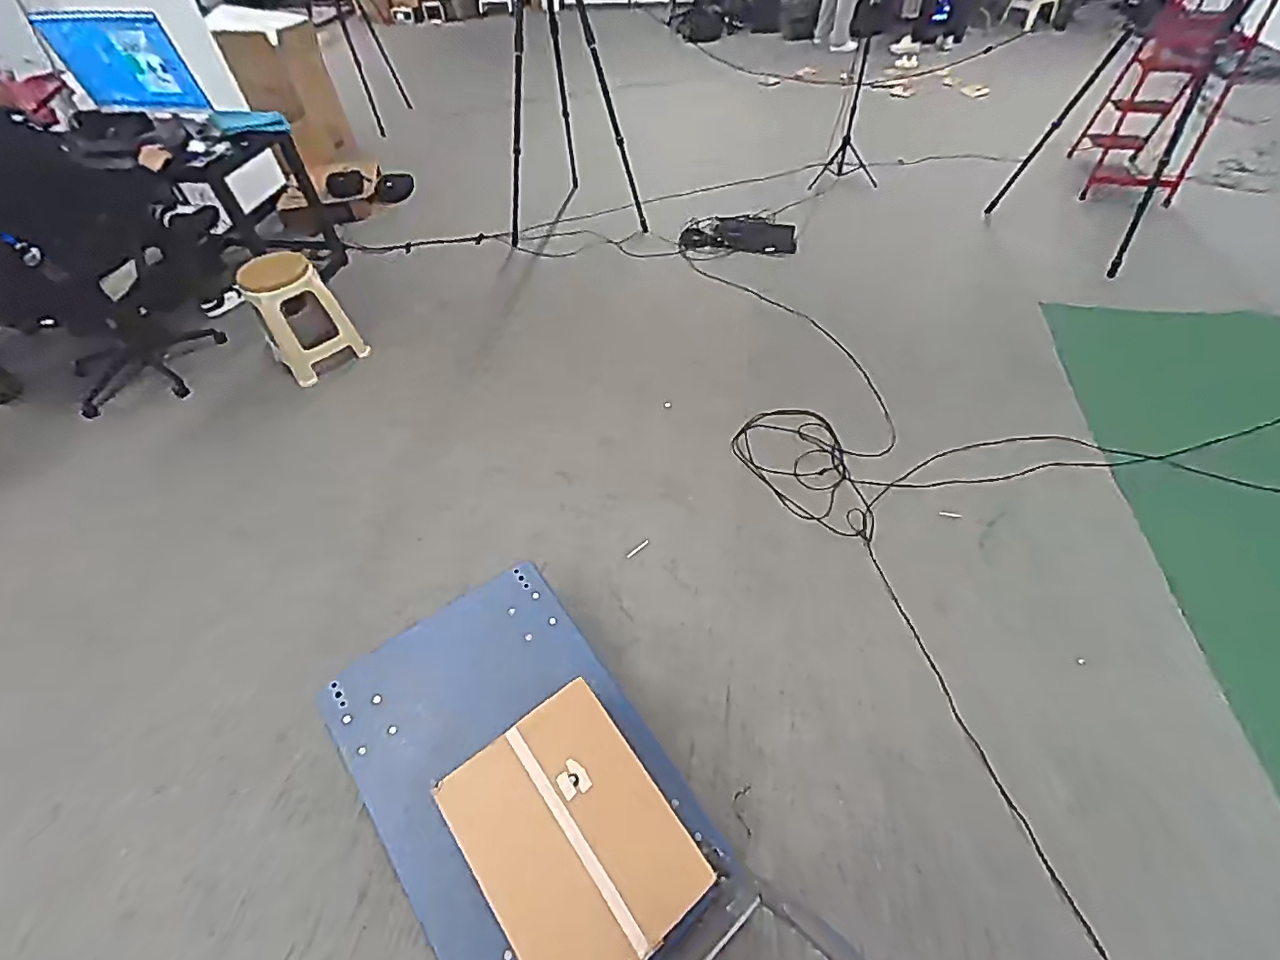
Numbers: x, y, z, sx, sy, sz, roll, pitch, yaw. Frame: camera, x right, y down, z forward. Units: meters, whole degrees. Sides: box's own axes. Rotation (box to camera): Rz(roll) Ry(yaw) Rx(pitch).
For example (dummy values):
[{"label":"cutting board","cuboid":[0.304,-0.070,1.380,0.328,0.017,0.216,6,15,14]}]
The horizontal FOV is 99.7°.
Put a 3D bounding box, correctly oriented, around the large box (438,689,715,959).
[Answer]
[{"label":"large box","cuboid":[-0.123,0.689,1.051,0.320,0.320,0.408,-32,68,-22]}]
